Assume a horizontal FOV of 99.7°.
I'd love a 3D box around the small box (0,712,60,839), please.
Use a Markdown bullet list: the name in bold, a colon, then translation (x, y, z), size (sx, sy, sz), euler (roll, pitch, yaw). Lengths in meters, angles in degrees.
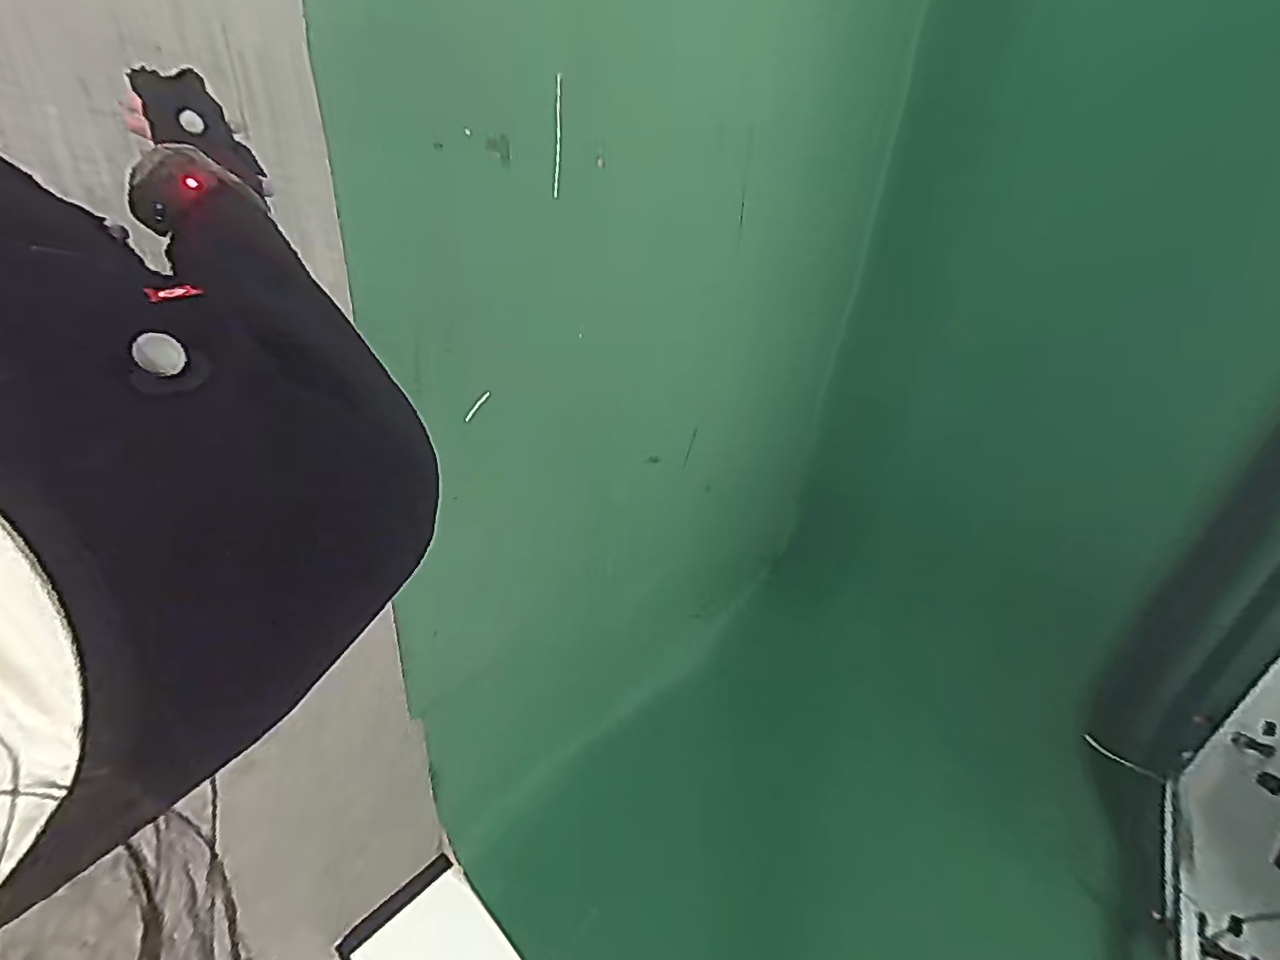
- **small box**: translation (-1.323, 0.610, 1.078), size (0.179, 0.176, 0.168), euler (-28, 133, -43)
